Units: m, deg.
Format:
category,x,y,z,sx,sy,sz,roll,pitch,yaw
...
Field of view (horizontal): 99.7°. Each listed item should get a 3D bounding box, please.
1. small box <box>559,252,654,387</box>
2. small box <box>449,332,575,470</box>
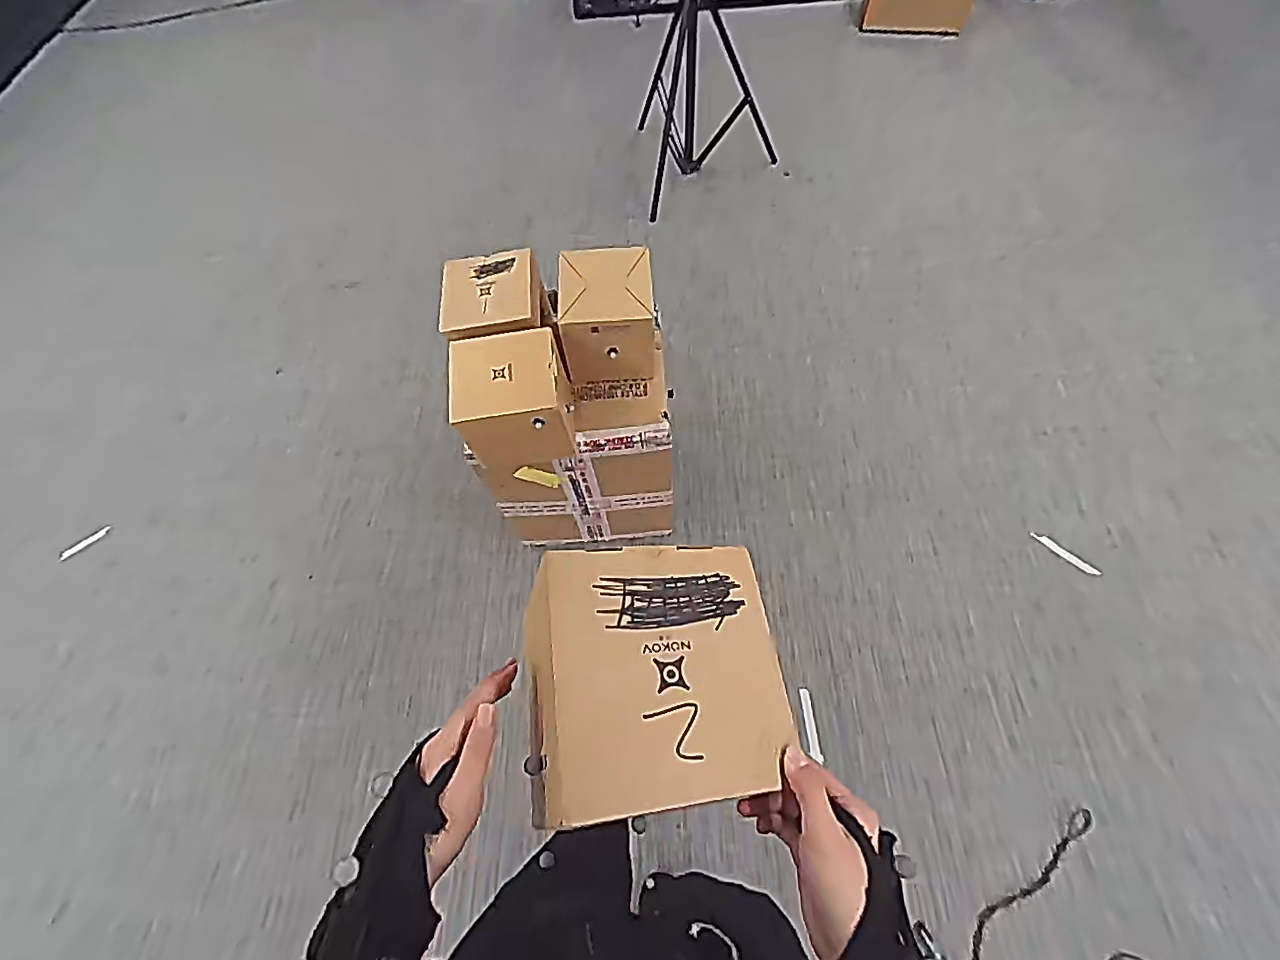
category,x,y,z,sx,sy,sz,roll,pitch,yaw
small box,-0.061,-0.300,1.022,0.168,0.176,0.179,-3,63,-1
small box,-0.220,-0.131,0.952,0.179,0.176,0.168,-9,64,-1
